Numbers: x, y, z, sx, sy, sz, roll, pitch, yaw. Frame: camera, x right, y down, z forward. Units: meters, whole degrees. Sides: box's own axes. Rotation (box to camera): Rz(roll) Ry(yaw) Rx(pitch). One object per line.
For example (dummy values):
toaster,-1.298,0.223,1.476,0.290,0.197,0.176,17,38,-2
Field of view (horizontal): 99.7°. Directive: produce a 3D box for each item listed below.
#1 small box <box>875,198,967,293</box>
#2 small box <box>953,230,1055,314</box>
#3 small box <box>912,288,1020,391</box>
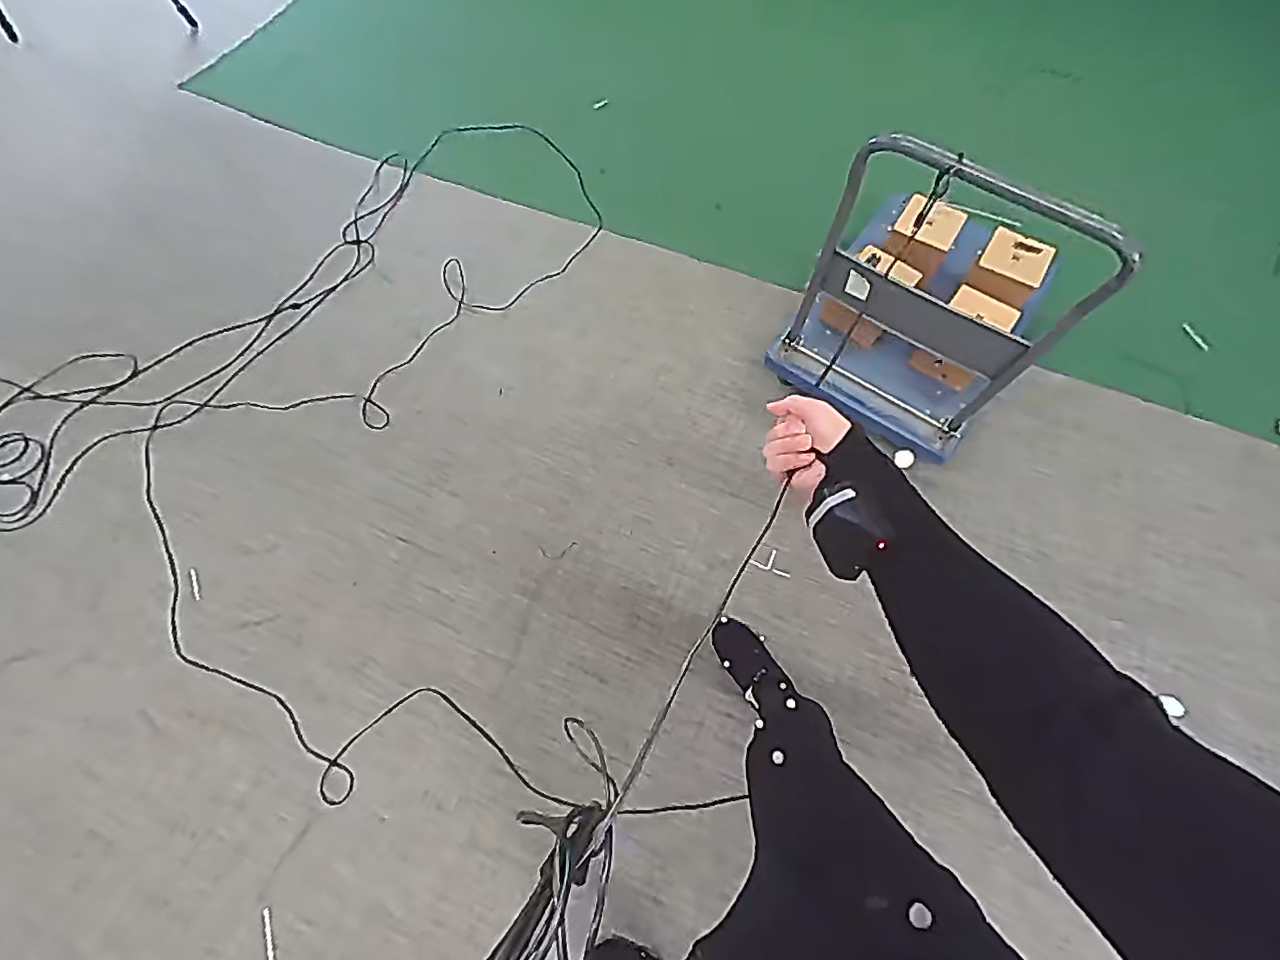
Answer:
small box,0.840,-0.703,1.635,0.168,0.176,0.179,31,69,13
small box,1.051,-0.580,1.575,0.168,0.176,0.179,30,70,15
small box,0.888,-0.382,1.488,0.168,0.176,0.179,35,71,15
